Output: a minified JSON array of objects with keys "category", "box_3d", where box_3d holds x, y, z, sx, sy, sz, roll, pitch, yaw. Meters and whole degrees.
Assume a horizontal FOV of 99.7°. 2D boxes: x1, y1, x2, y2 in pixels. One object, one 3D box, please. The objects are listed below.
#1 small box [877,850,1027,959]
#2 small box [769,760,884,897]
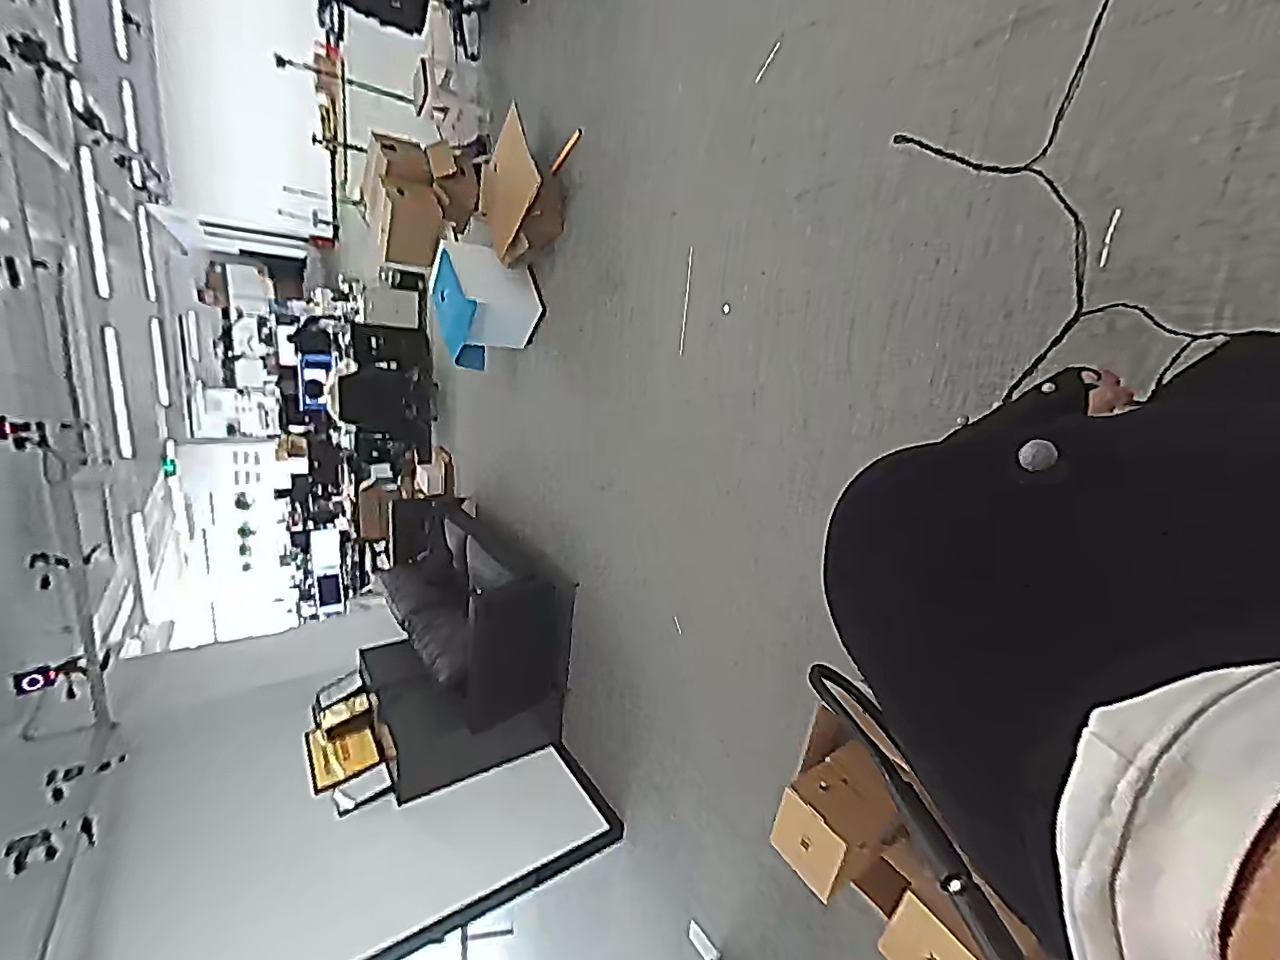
[{"category":"small box","box_3d":[0.592,0.856,1.024,0.168,0.176,0.179,35,122,47]},{"category":"small box","box_3d":[0.429,0.785,1.240,0.168,0.176,0.179,33,120,49]}]
